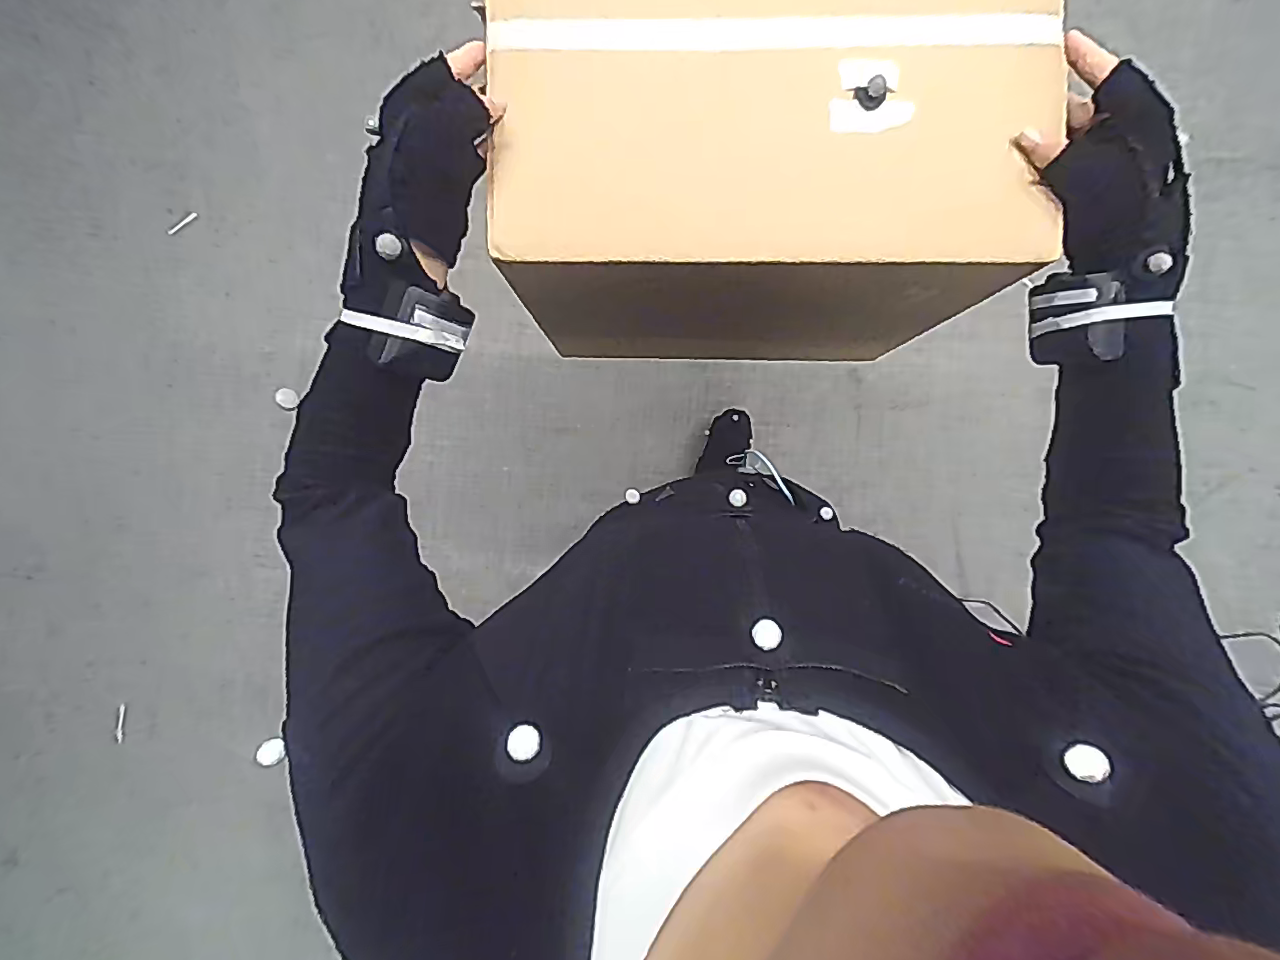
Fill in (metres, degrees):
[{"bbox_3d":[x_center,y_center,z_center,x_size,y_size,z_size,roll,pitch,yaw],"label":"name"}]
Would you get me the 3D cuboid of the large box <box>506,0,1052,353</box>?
[{"bbox_3d":[0.098,-0.319,0.543,0.408,0.320,0.320,0,90,0],"label":"large box"}]
